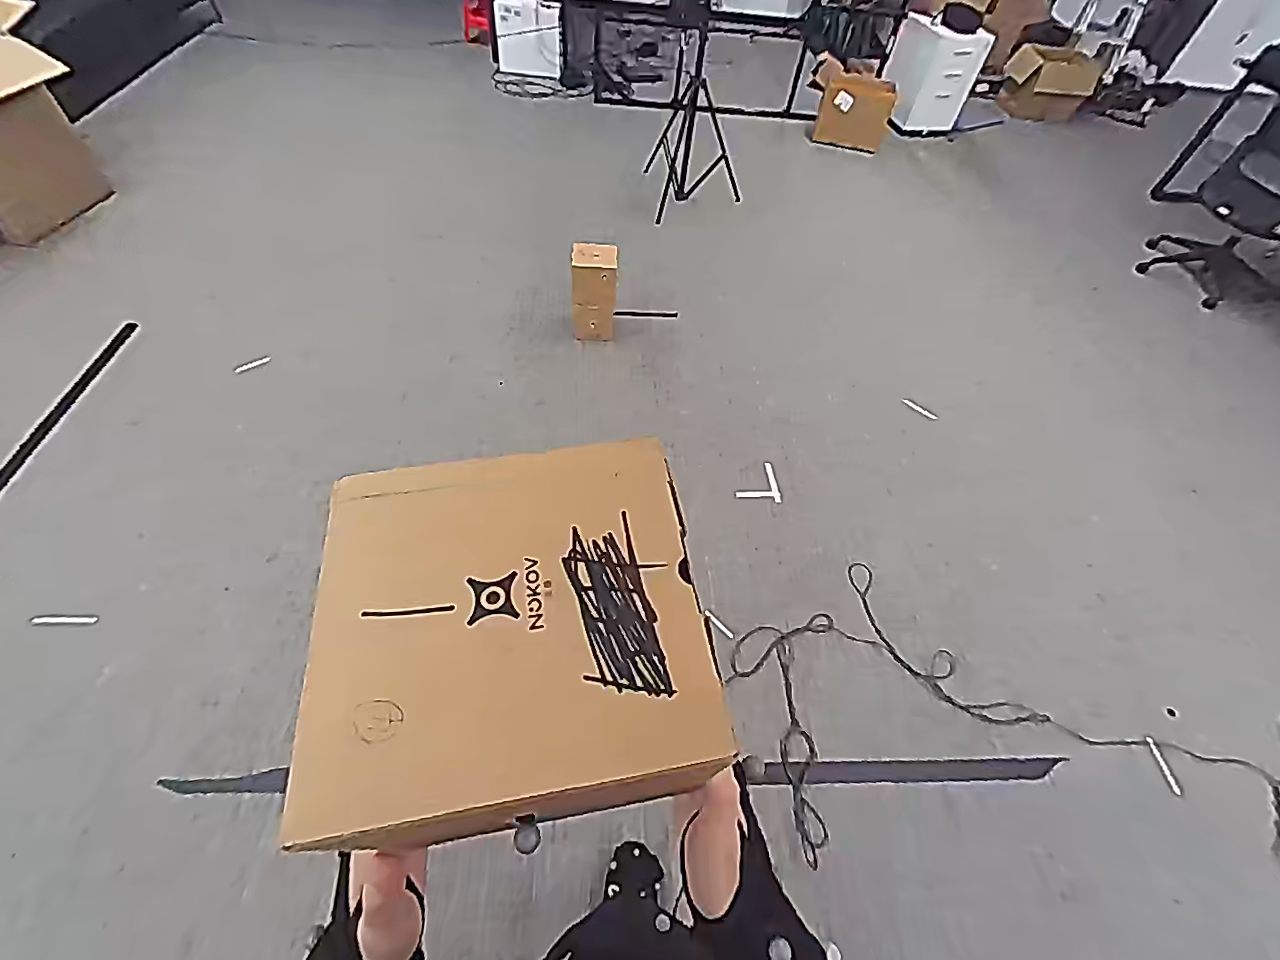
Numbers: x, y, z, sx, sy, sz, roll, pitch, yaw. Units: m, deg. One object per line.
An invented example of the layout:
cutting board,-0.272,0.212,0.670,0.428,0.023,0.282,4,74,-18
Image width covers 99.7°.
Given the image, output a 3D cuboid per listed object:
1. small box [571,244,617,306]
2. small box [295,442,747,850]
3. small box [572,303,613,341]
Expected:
small box,-0.183,-0.811,2.150,0.179,0.176,0.168,1,52,-5
small box,-0.058,0.100,0.316,0.179,0.176,0.168,-8,57,-7
small box,-0.199,-0.708,2.281,0.168,0.176,0.179,2,53,-5
